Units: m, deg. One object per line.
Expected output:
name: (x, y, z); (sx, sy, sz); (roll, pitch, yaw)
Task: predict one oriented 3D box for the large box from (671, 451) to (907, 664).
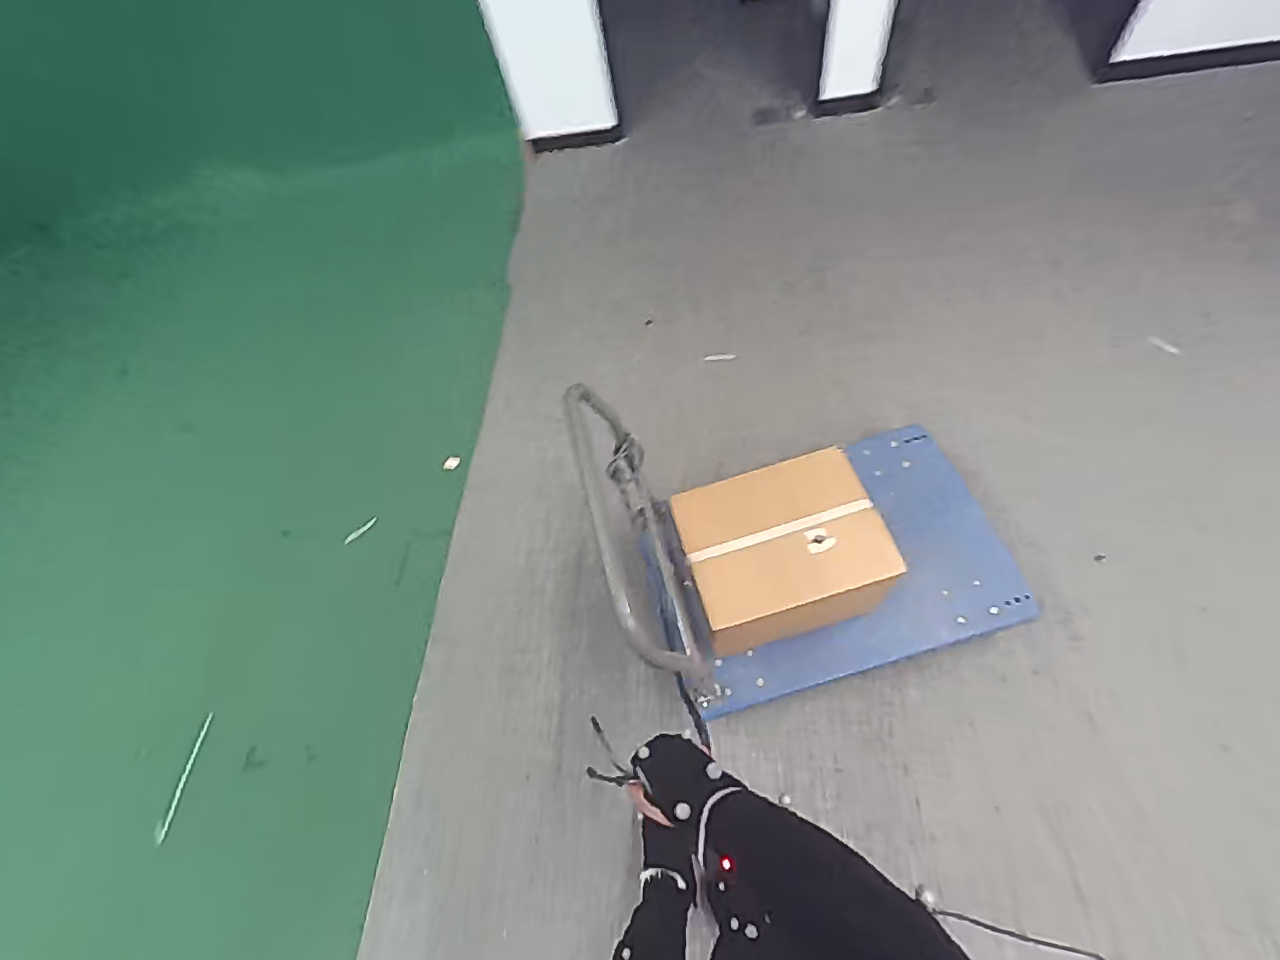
large box: (0.315, 0.191, 1.251); (0.408, 0.320, 0.320); (-17, 61, 0)
